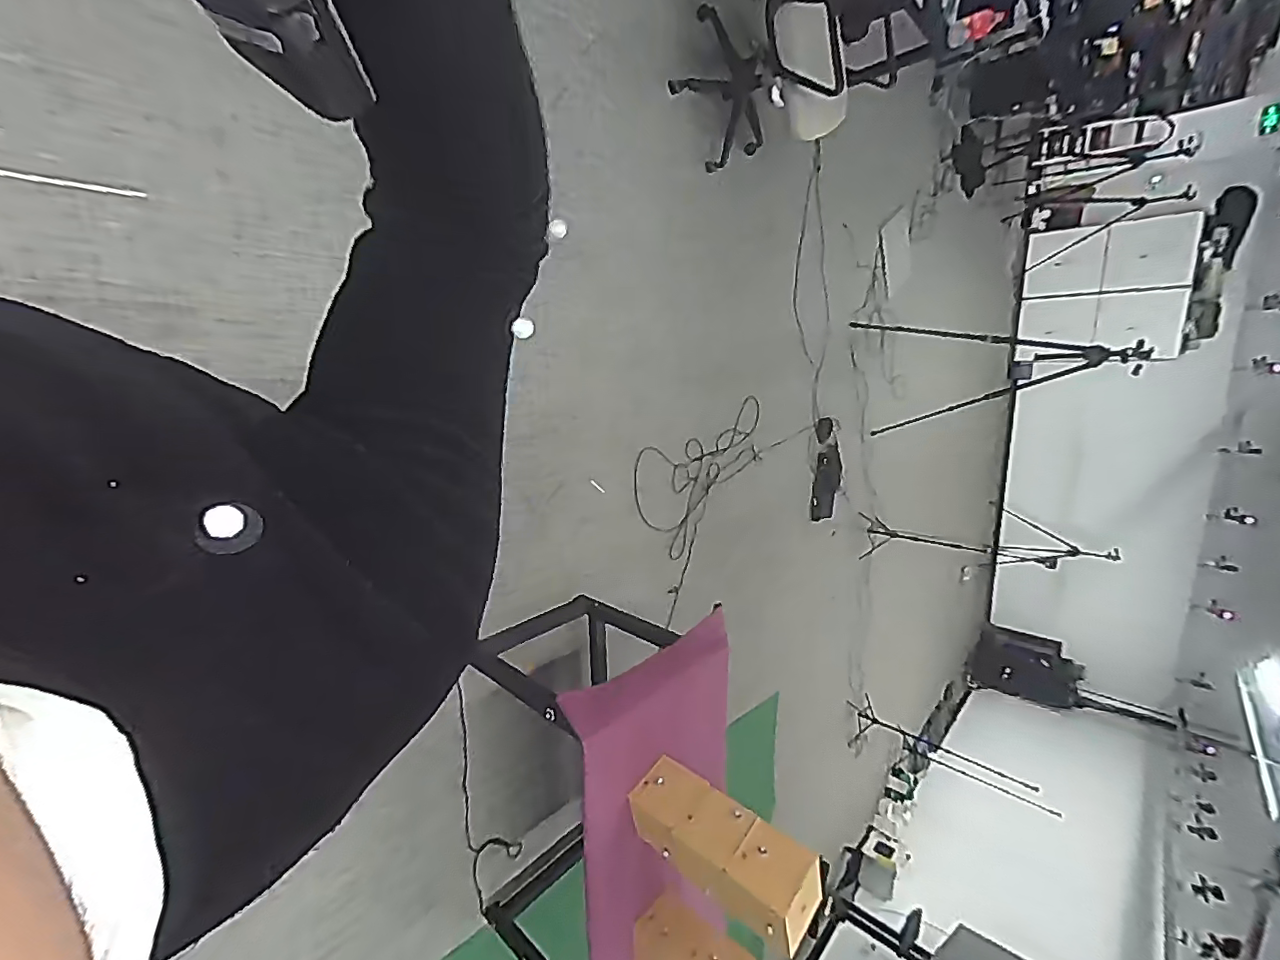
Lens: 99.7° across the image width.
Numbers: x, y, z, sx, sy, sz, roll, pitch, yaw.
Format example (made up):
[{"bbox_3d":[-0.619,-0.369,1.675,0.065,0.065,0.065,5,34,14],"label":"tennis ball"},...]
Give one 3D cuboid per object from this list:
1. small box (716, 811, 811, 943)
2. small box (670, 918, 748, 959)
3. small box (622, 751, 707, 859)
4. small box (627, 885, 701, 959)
[{"bbox_3d":[0.309,0.981,1.354,0.168,0.176,0.179,-32,120,-40],"label":"small box"},{"bbox_3d":[0.196,1.421,1.559,0.168,0.176,0.179,-13,105,-46],"label":"small box"},{"bbox_3d":[0.071,0.934,1.572,0.168,0.176,0.179,-31,119,-41],"label":"small box"},{"bbox_3d":[0.073,1.402,1.664,0.168,0.176,0.179,-11,105,-47],"label":"small box"}]
